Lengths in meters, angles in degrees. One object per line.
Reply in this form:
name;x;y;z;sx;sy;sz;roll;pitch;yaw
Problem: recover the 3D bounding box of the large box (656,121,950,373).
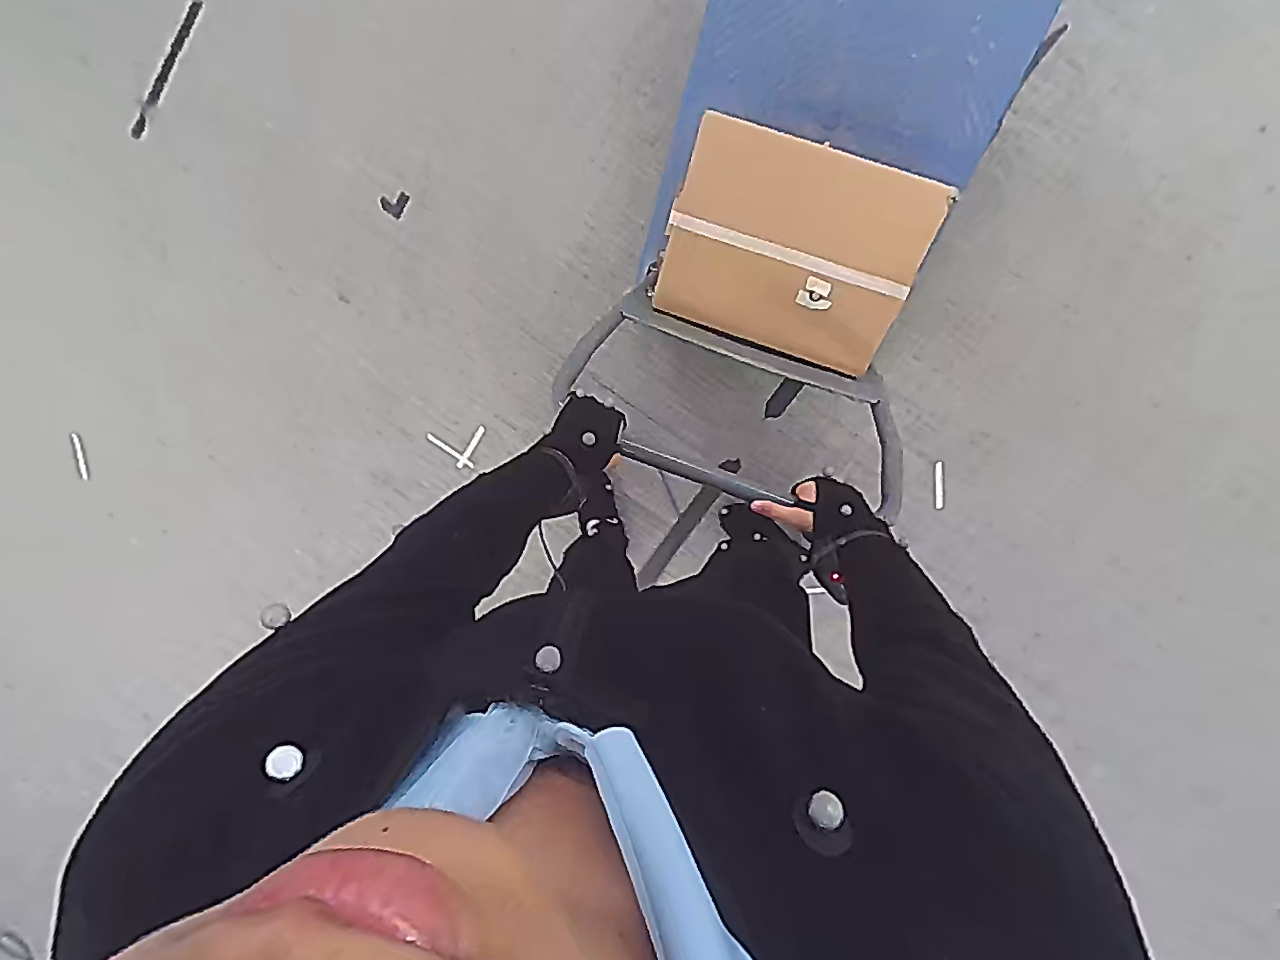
large box;0.282;-0.449;1.042;0.408;0.320;0.320;19;122;3
